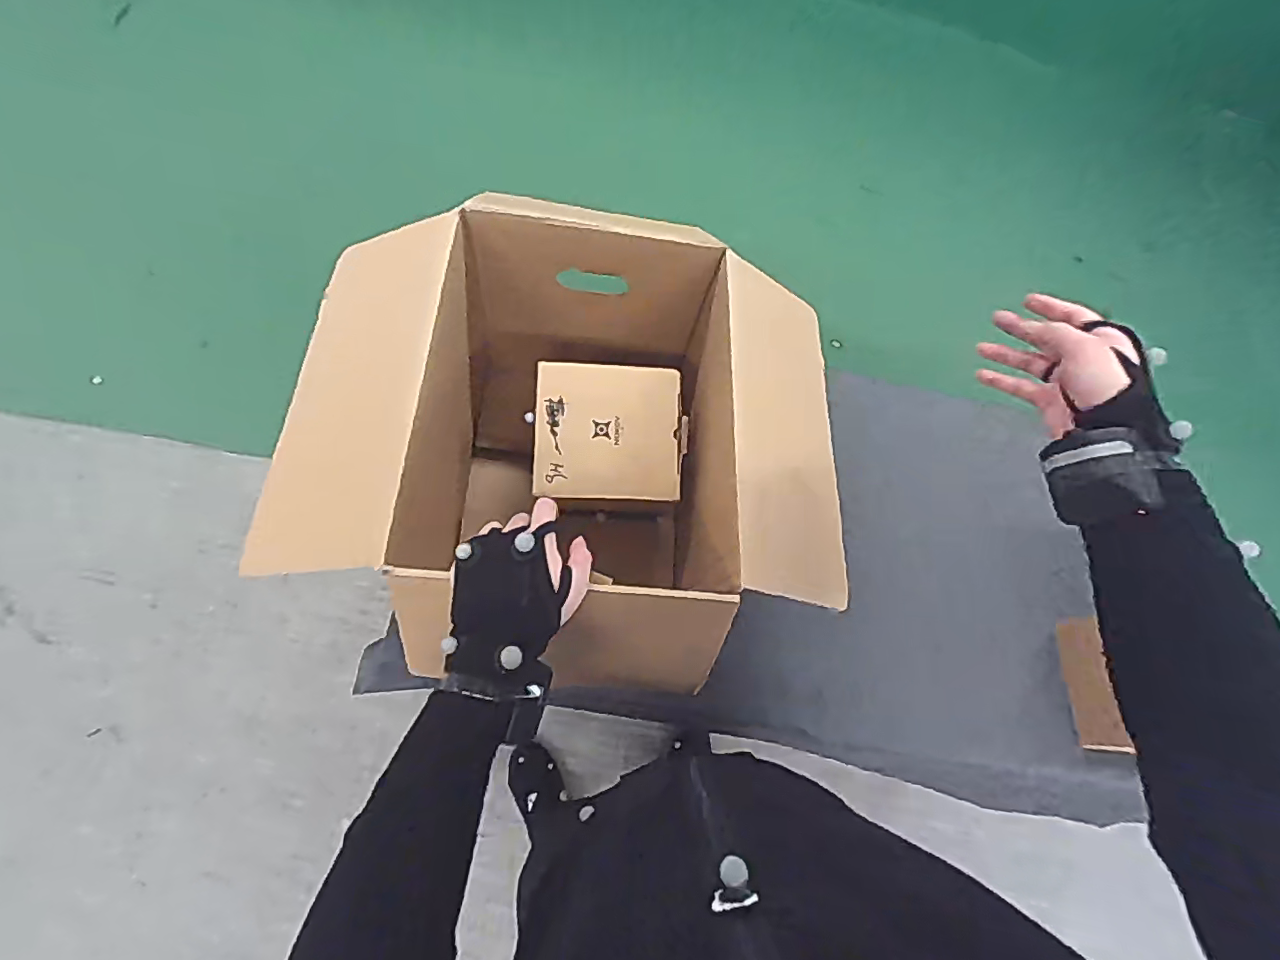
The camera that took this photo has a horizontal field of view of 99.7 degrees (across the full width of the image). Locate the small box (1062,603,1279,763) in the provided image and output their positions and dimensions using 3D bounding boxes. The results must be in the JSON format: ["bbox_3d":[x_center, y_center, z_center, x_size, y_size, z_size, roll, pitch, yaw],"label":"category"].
[{"bbox_3d":[0.731,0.279,0.737,0.168,0.176,0.179,8,65,-5],"label":"small box"}]
